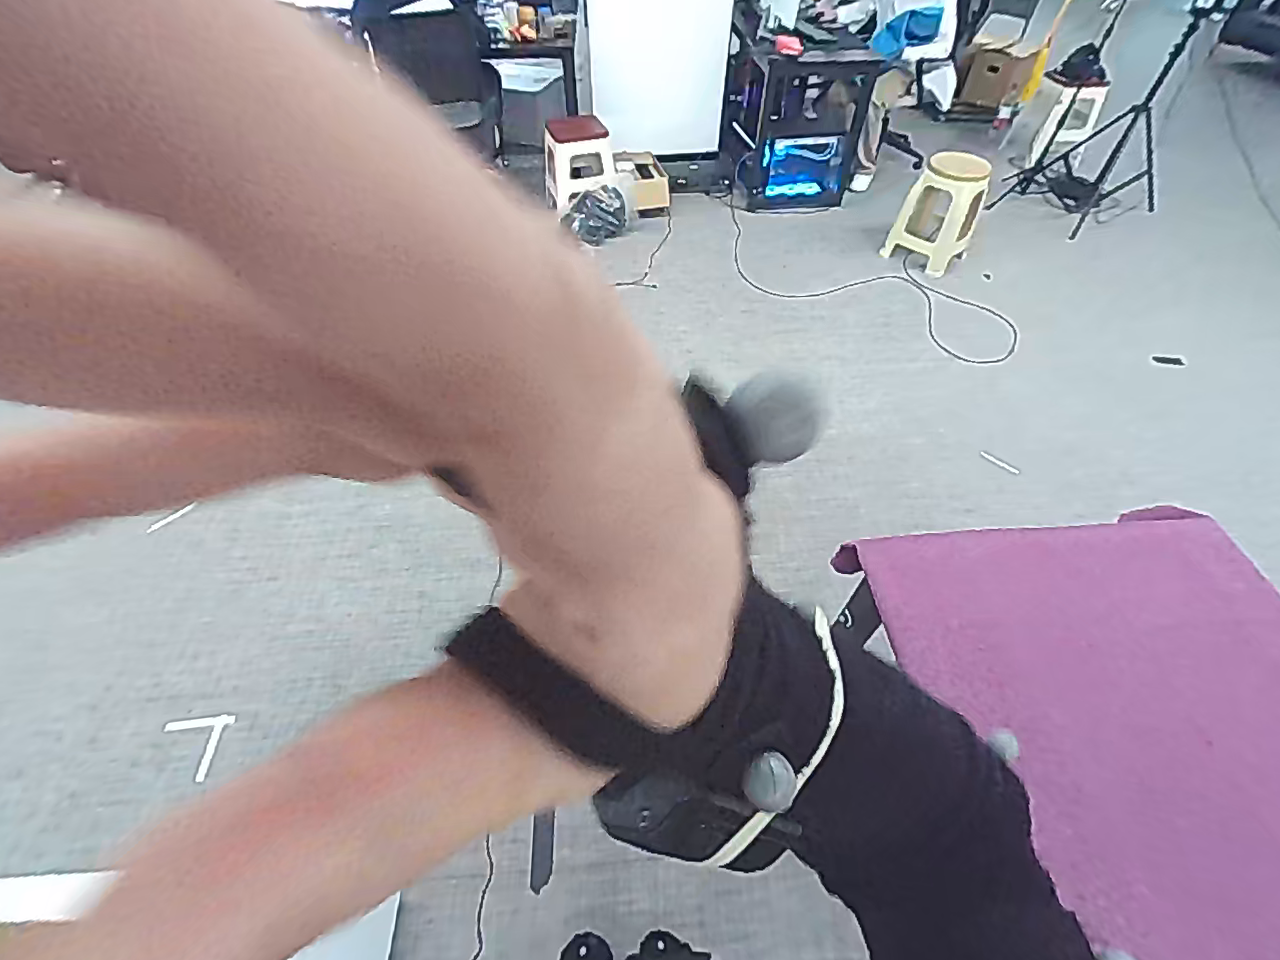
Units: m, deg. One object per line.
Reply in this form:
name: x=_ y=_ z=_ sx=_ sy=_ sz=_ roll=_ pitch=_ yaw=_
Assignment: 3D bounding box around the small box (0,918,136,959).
small box: x=-0.609 y=0.479 z=0.456 sx=0.179 sy=0.176 sz=0.168 roll=-1 pitch=51 yaw=-1
